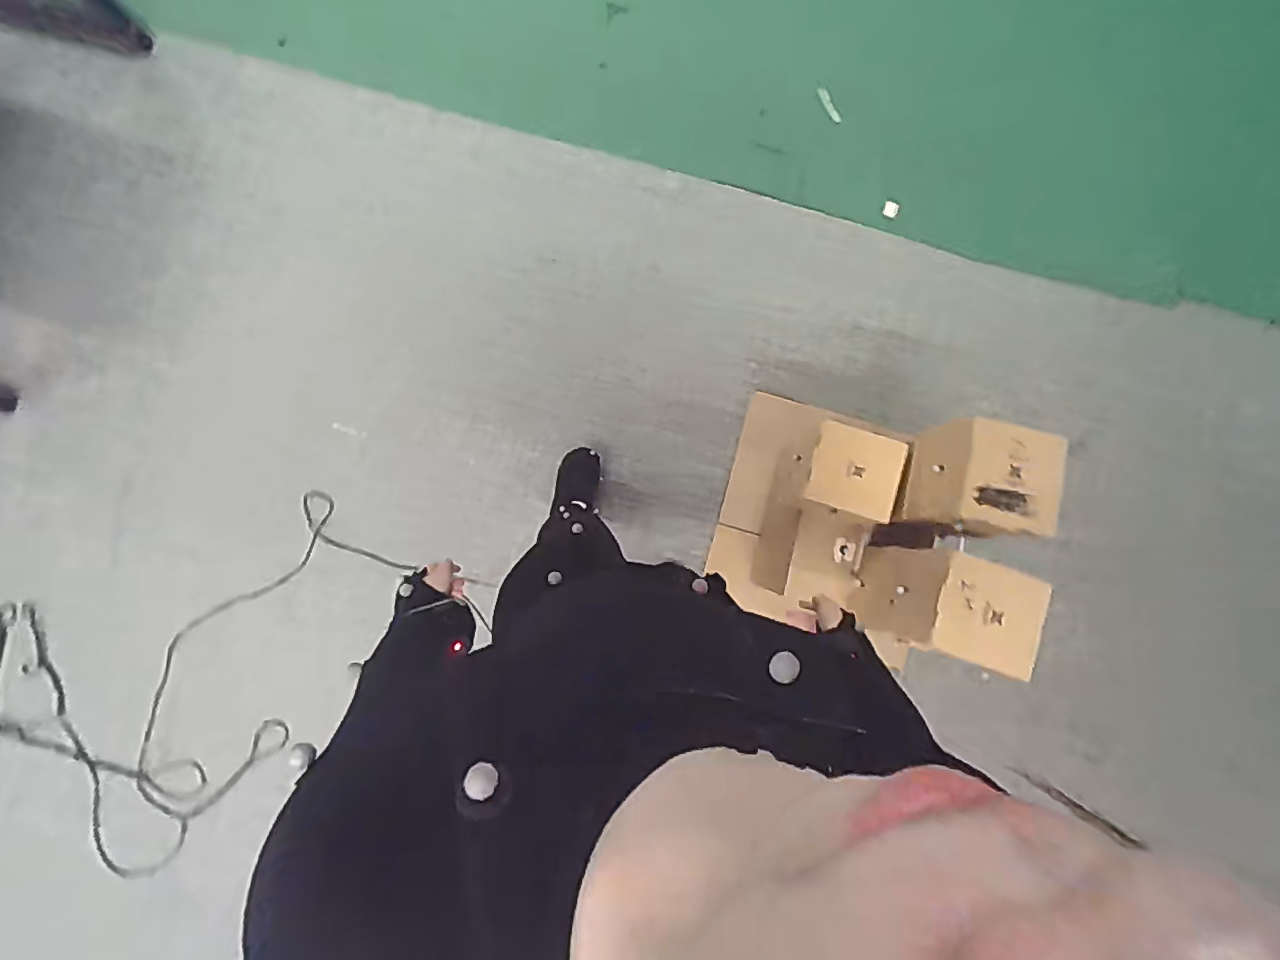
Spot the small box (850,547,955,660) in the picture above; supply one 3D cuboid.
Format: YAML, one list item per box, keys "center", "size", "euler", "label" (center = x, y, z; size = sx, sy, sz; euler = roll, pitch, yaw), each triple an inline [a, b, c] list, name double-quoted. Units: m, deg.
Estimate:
- center: [0.558, 0.246, 1.113]
  size: [0.168, 0.176, 0.179]
  euler: [19, 82, 0]
  label: "small box"

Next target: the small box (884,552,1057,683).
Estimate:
- center: [0.567, 0.229, 0.947]
  size: [0.179, 0.176, 0.168]
  euler: [20, 82, 0]
  label: "small box"
